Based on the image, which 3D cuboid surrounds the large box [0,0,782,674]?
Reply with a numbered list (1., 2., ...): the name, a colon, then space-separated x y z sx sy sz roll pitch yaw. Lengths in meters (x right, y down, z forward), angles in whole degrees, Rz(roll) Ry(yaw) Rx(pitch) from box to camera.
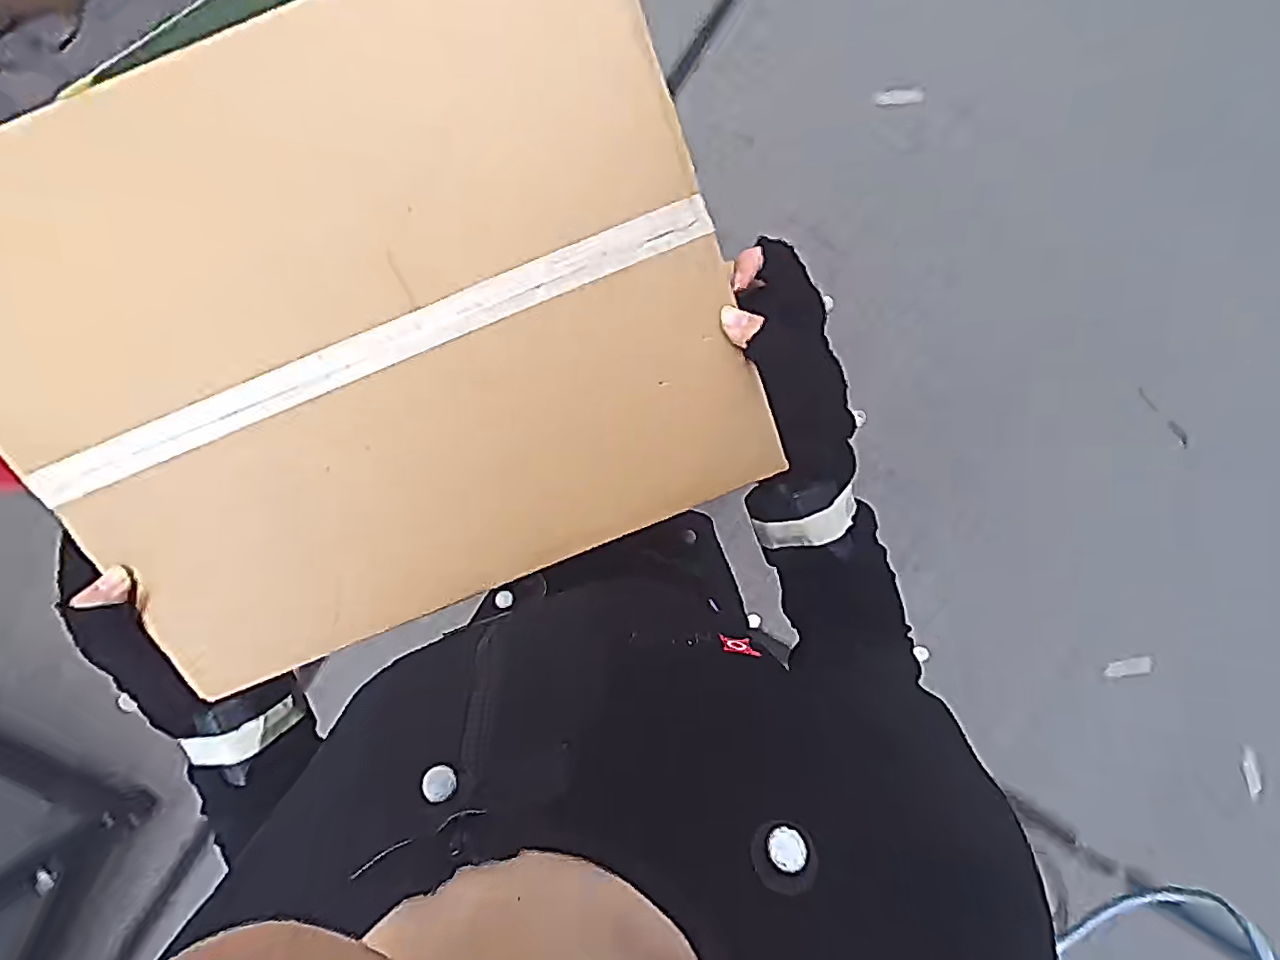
1. large box: -0.157 -0.117 0.454 0.408 0.320 0.320 -21 108 1
